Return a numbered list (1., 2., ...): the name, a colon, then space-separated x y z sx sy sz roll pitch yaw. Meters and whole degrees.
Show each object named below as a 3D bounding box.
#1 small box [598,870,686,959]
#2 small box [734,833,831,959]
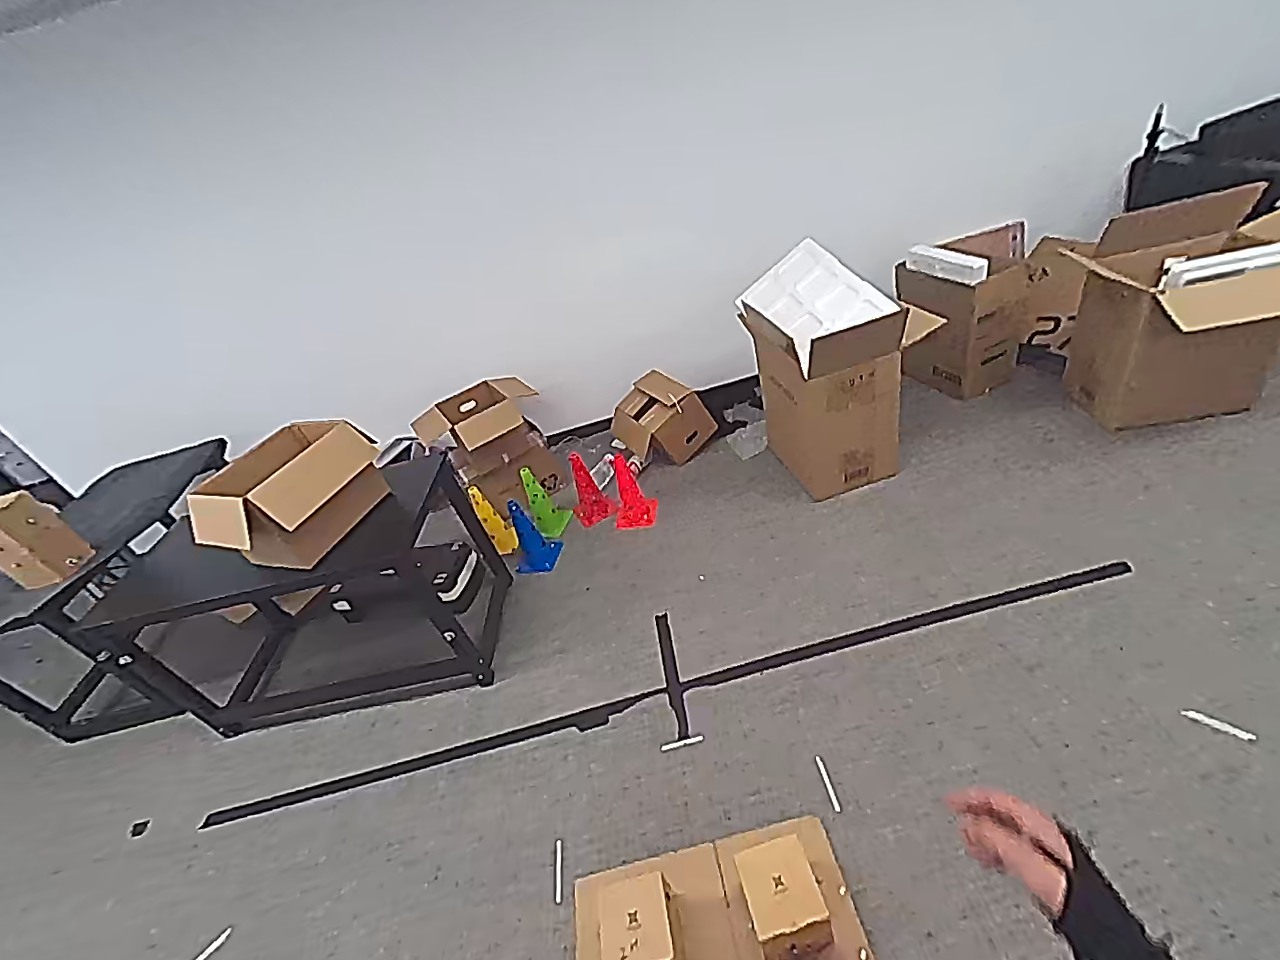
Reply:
1. small box: 0.005 1.080 1.291 0.168 0.176 0.179 -18 35 2
2. small box: 0.336 0.988 1.283 0.168 0.176 0.179 -19 35 -2
